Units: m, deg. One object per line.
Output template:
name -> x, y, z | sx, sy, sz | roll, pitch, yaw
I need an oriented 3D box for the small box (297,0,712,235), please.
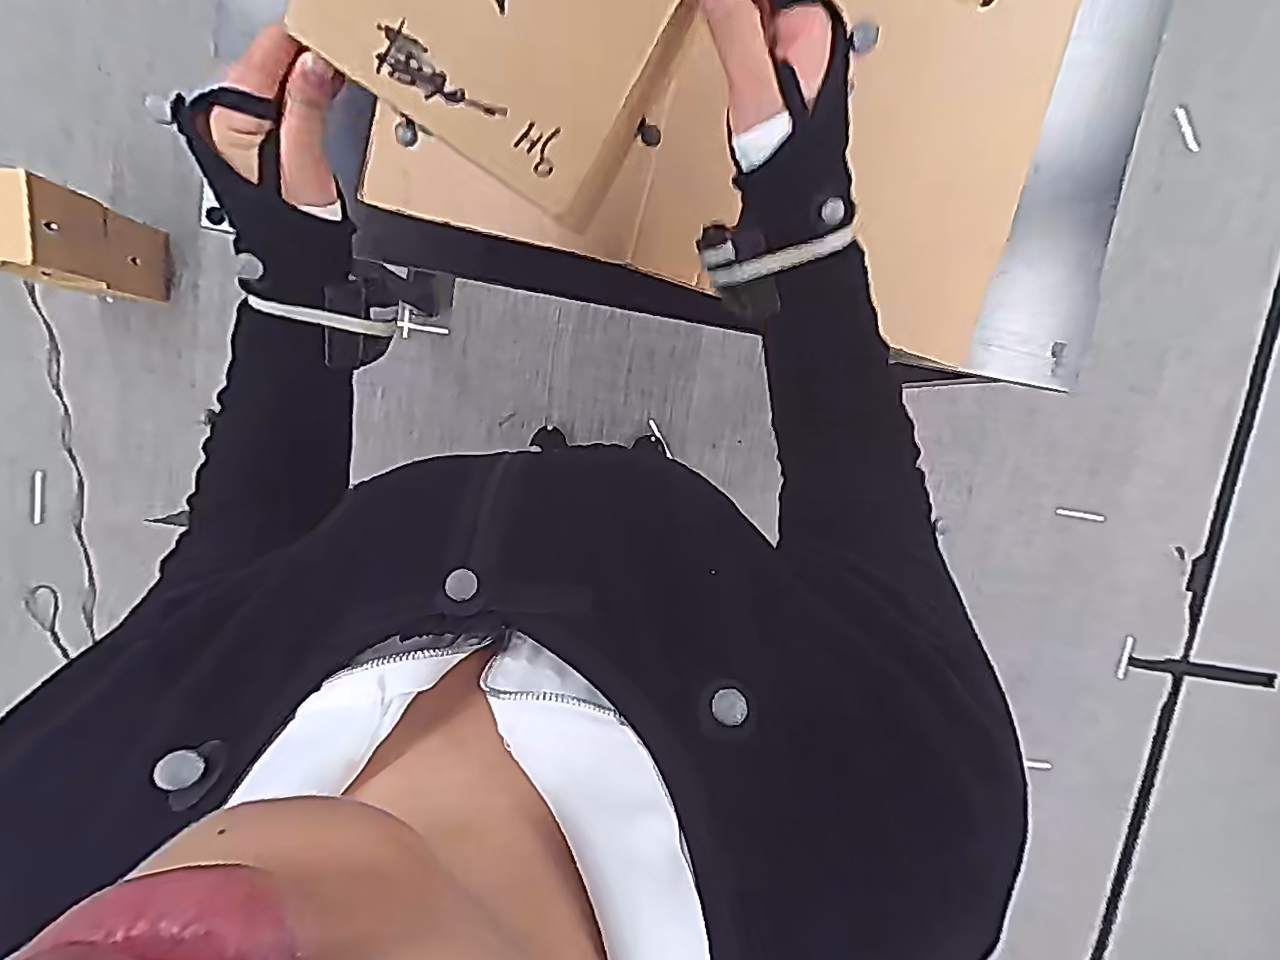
small box -> -0.066, -0.285, 0.347 | 0.168, 0.176, 0.179 | 32, 107, -13

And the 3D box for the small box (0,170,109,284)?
small box -> -1.246, -0.511, 1.106 | 0.168, 0.176, 0.179 | 2, 96, -5

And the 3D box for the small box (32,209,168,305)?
small box -> -1.257, -0.525, 1.268 | 0.168, 0.176, 0.179 | 5, 97, -5
